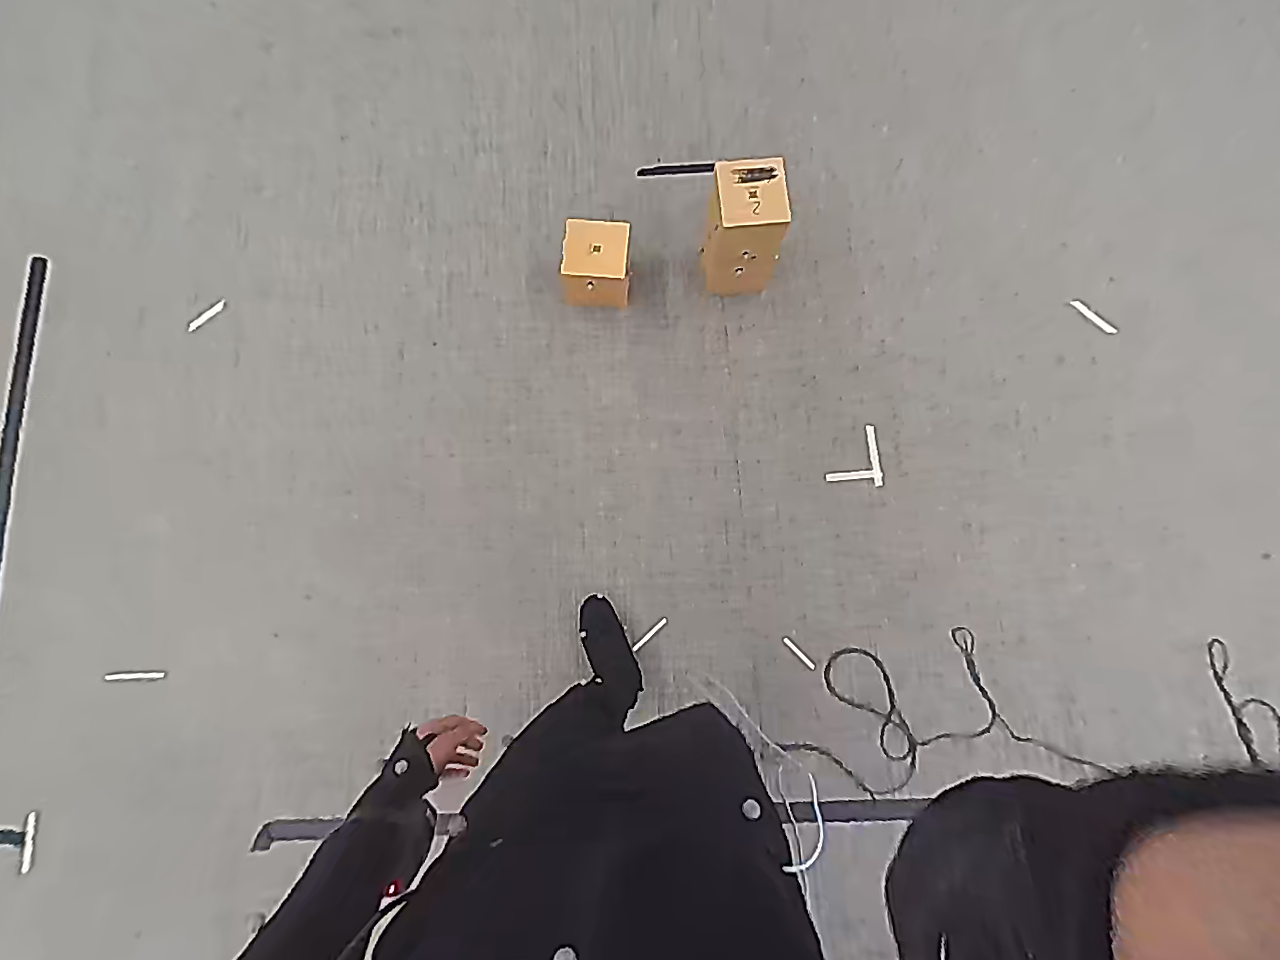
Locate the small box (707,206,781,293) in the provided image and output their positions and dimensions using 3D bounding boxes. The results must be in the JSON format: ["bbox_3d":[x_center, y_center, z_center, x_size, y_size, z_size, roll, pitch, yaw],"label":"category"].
[{"bbox_3d":[0.286,-0.647,1.535,0.179,0.176,0.168,-4,81,-1],"label":"small box"}]

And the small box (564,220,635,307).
[{"bbox_3d":[-0.108,-0.606,1.533,0.179,0.176,0.168,5,81,2],"label":"small box"}]
